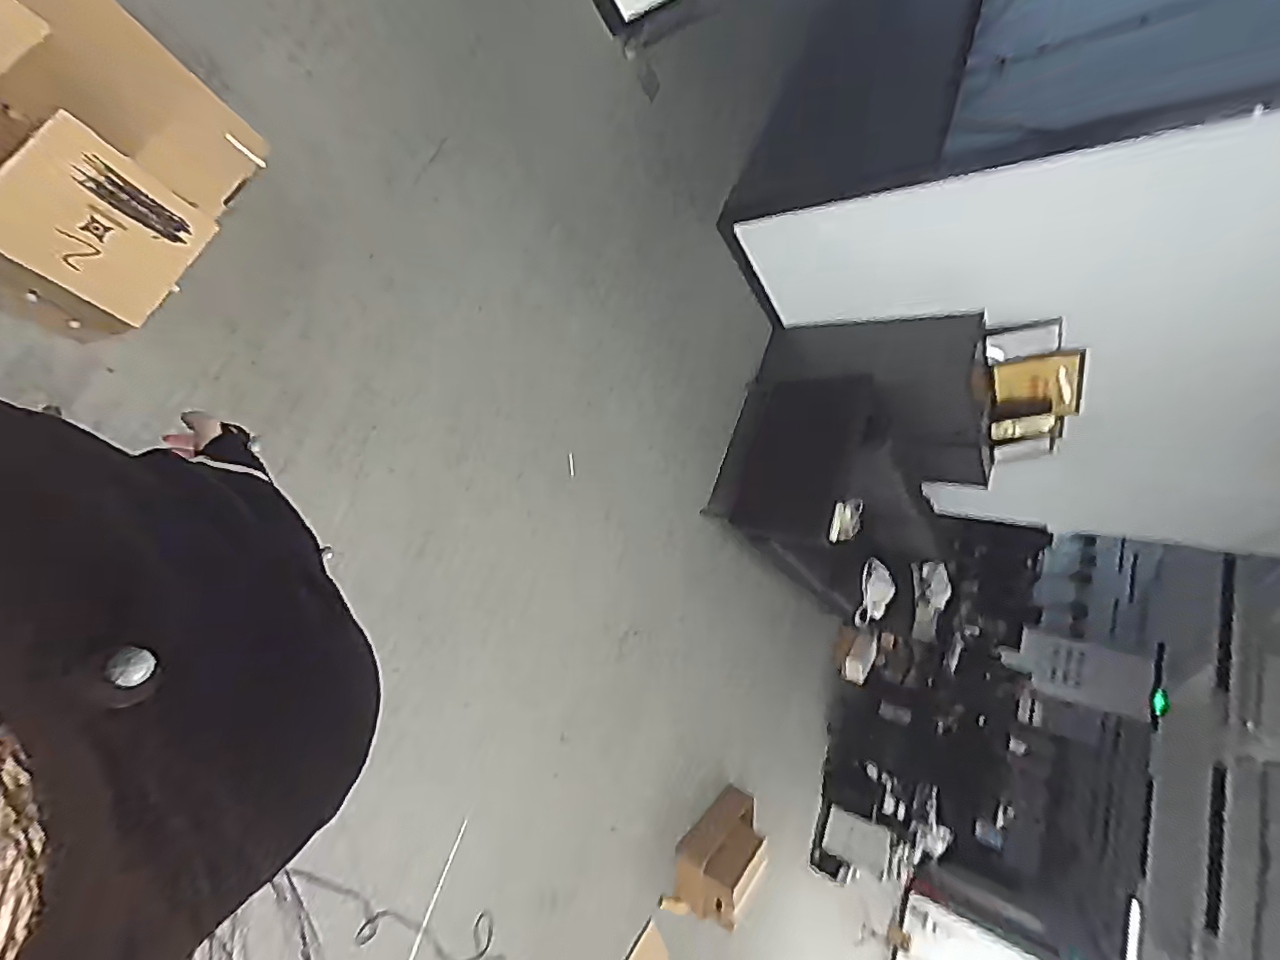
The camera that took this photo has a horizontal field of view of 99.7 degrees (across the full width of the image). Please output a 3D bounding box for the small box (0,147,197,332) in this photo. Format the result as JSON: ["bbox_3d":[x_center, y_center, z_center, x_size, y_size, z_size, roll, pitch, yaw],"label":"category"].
[{"bbox_3d":[-0.809,-0.333,0.786,0.179,0.176,0.168,40,64,-47],"label":"small box"}]
